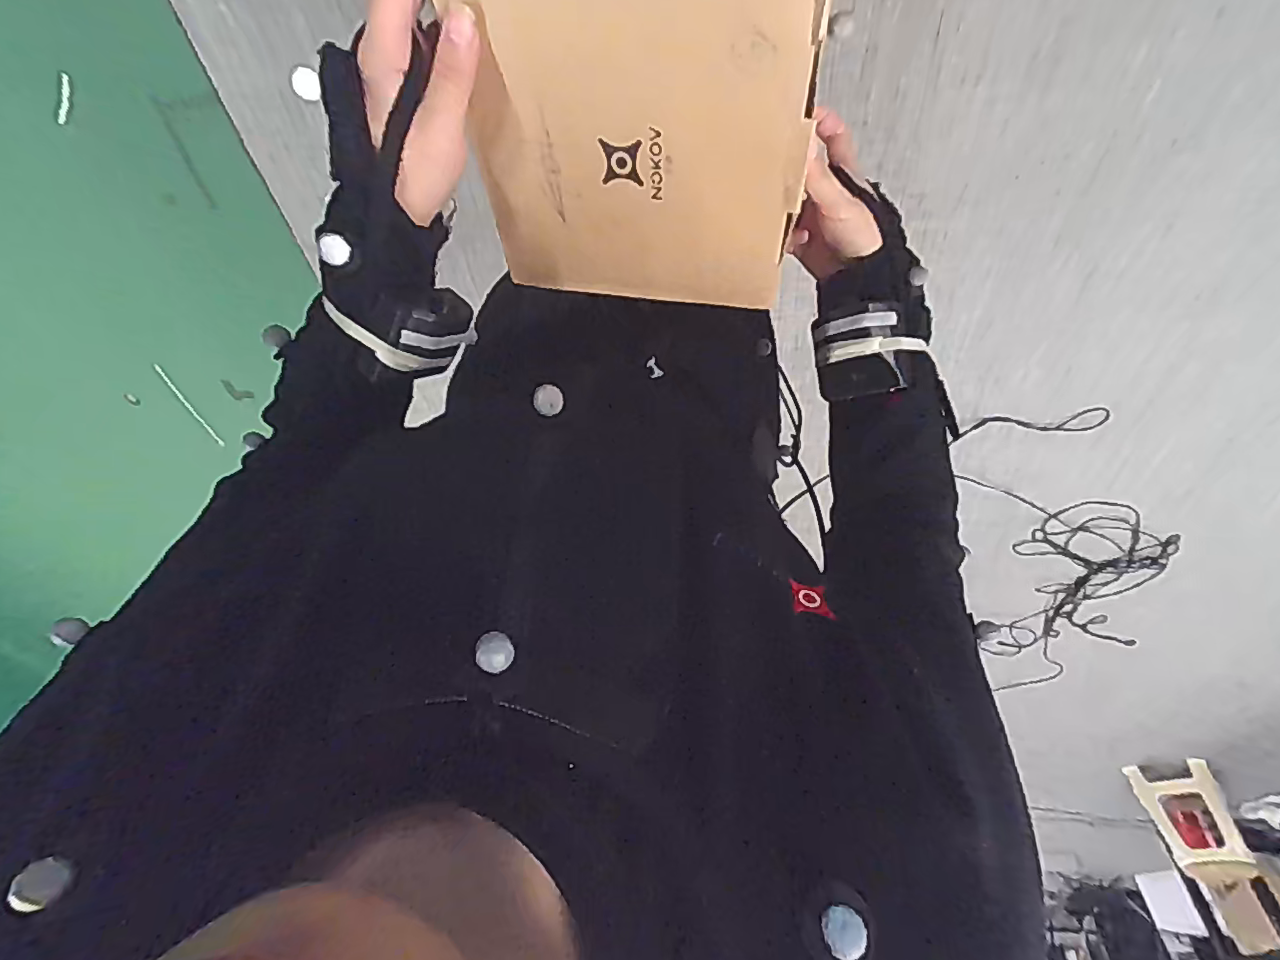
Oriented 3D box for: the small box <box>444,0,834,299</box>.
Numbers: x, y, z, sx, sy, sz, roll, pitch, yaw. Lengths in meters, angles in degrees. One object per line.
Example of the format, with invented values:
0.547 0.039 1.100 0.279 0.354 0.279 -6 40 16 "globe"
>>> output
0.015 -0.236 0.331 0.179 0.176 0.168 9 145 11 "small box"
